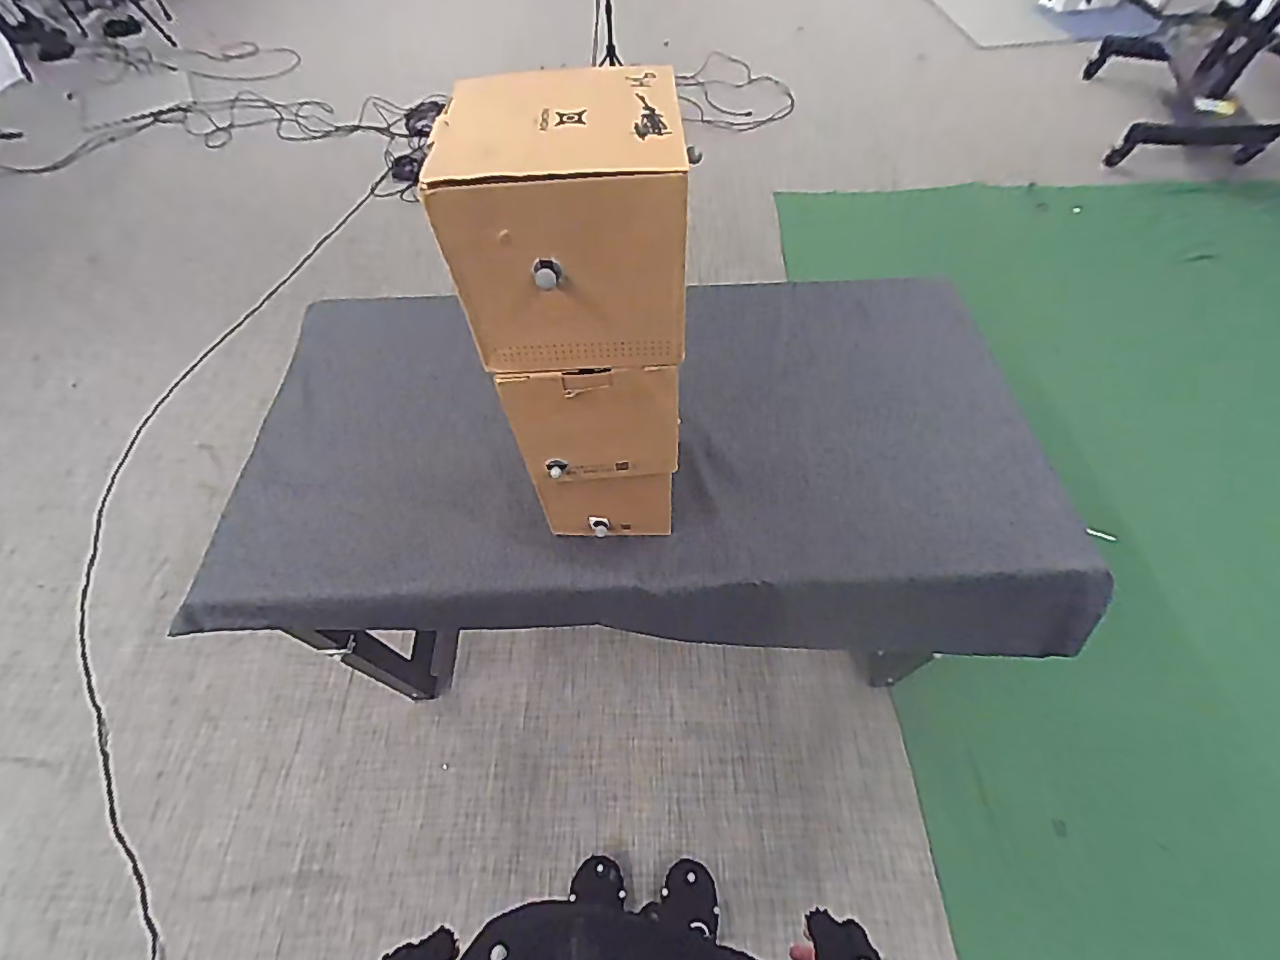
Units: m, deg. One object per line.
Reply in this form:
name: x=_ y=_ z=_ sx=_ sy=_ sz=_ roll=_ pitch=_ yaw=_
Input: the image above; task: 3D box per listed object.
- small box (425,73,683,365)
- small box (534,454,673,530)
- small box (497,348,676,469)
small box: x=-0.057 y=-0.216 z=0.465 sx=0.179 sy=0.176 sz=0.168 roll=-5 pitch=55 yaw=0
small box: x=-0.040 y=-0.046 z=0.743 sx=0.168 sy=0.176 sz=0.179 roll=-2 pitch=58 yaw=3
small box: x=-0.052 y=-0.125 z=0.599 sx=0.168 sy=0.176 sz=0.179 roll=-8 pitch=58 yaw=-1
